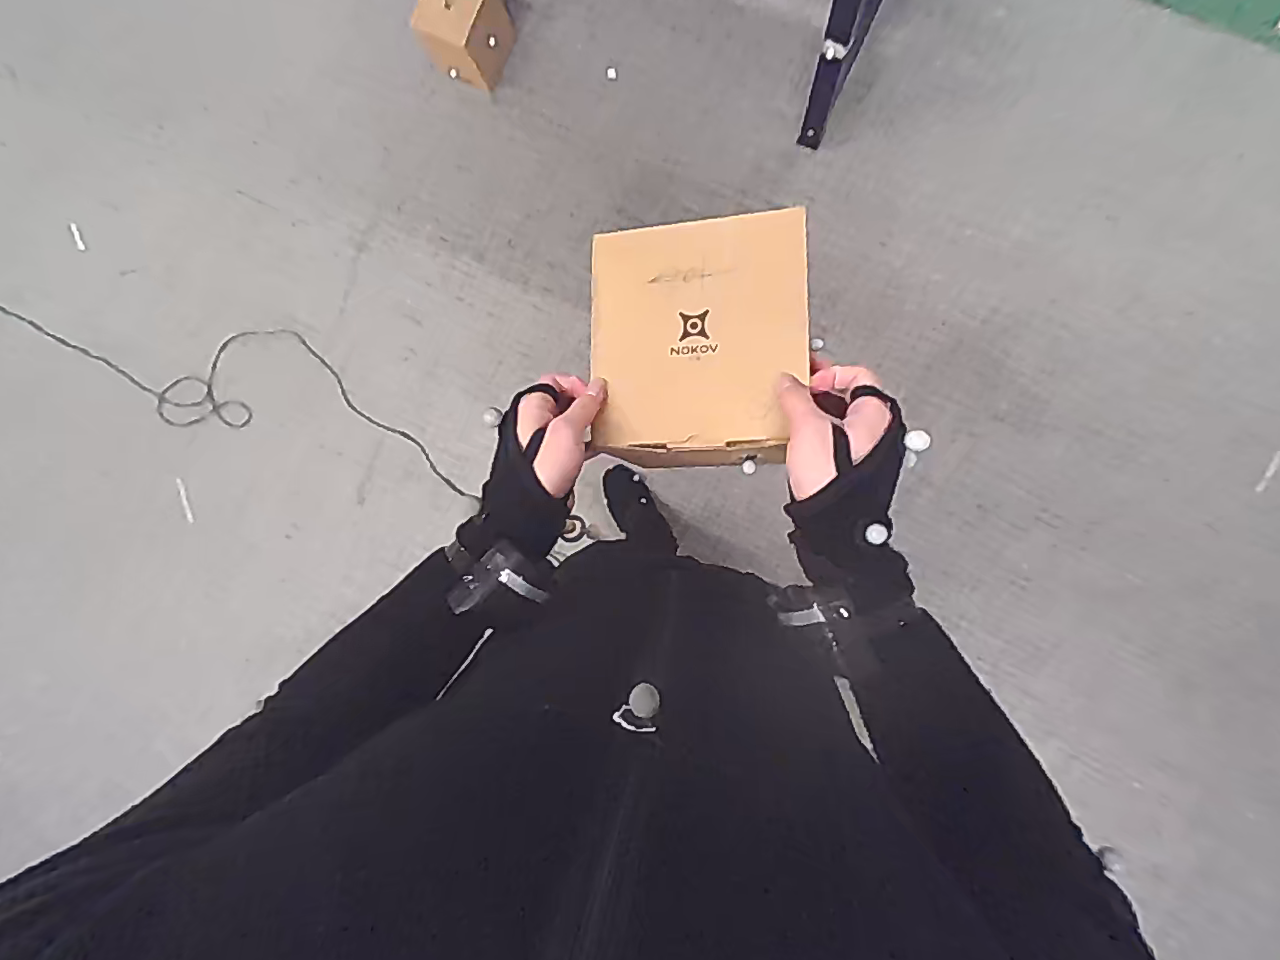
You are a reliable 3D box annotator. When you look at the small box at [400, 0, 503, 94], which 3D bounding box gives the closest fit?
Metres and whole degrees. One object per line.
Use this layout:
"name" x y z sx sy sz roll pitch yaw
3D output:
"small box" -0.476 -1.162 1.401 0.168 0.176 0.179 25 94 7
